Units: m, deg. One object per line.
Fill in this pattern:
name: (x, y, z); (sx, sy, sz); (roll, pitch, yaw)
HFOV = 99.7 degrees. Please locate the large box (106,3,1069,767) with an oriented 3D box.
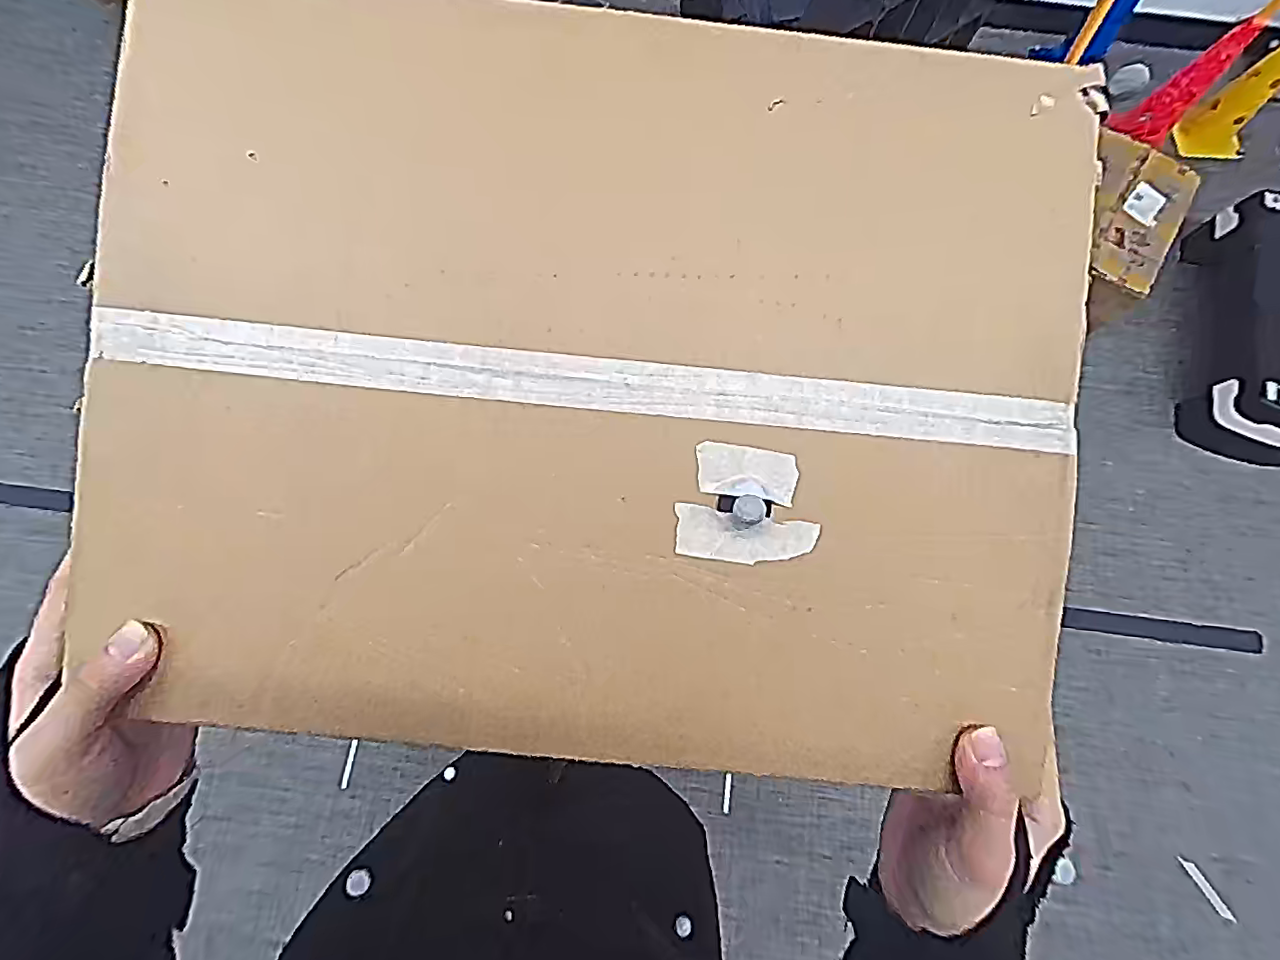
large box: (-0.021, -0.037, 0.384); (0.408, 0.320, 0.320); (5, 90, -2)
